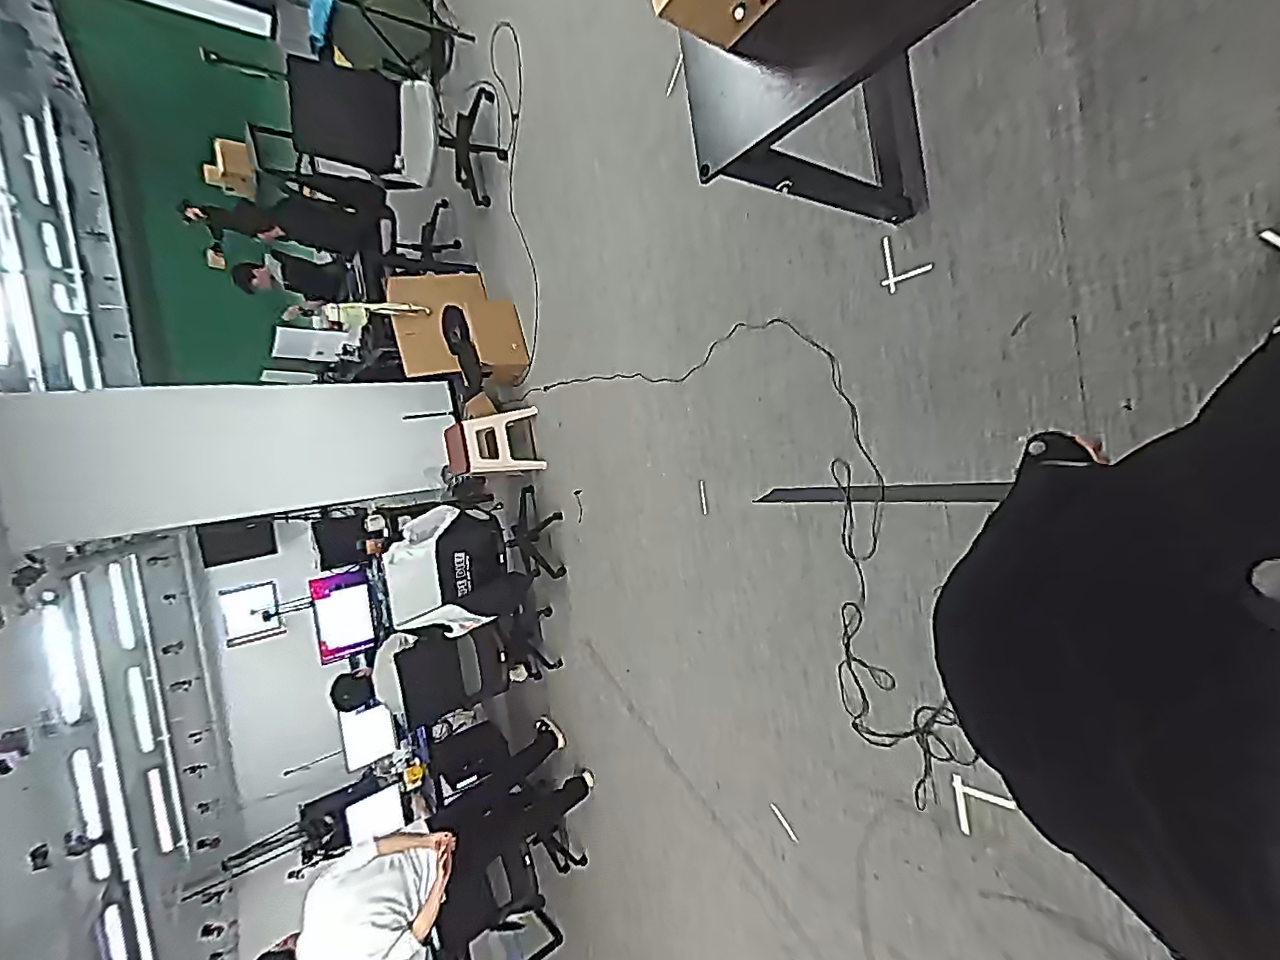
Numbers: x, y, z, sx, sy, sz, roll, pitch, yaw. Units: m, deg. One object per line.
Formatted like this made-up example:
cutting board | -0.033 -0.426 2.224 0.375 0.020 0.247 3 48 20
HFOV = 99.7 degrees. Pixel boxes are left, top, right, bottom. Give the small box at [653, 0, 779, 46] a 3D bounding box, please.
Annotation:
small box | 0.124 -0.842 0.847 0.168 0.176 0.179 -9 92 53
